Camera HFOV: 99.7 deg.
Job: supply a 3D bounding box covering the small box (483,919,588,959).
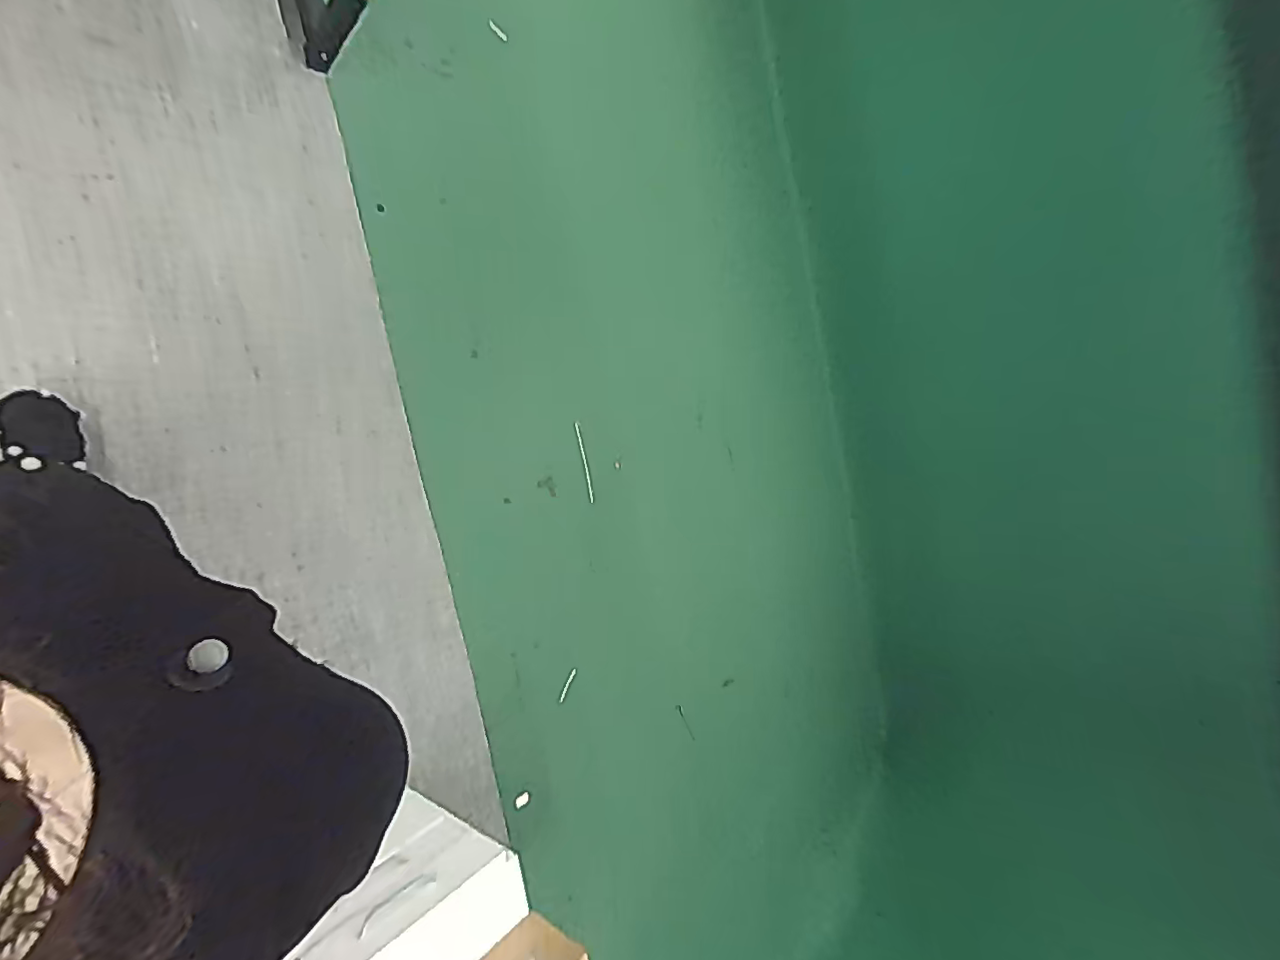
[{"bbox_3d":[-0.195,0.932,0.947,0.179,0.176,0.168,-16,96,-48],"label":"small box"}]
